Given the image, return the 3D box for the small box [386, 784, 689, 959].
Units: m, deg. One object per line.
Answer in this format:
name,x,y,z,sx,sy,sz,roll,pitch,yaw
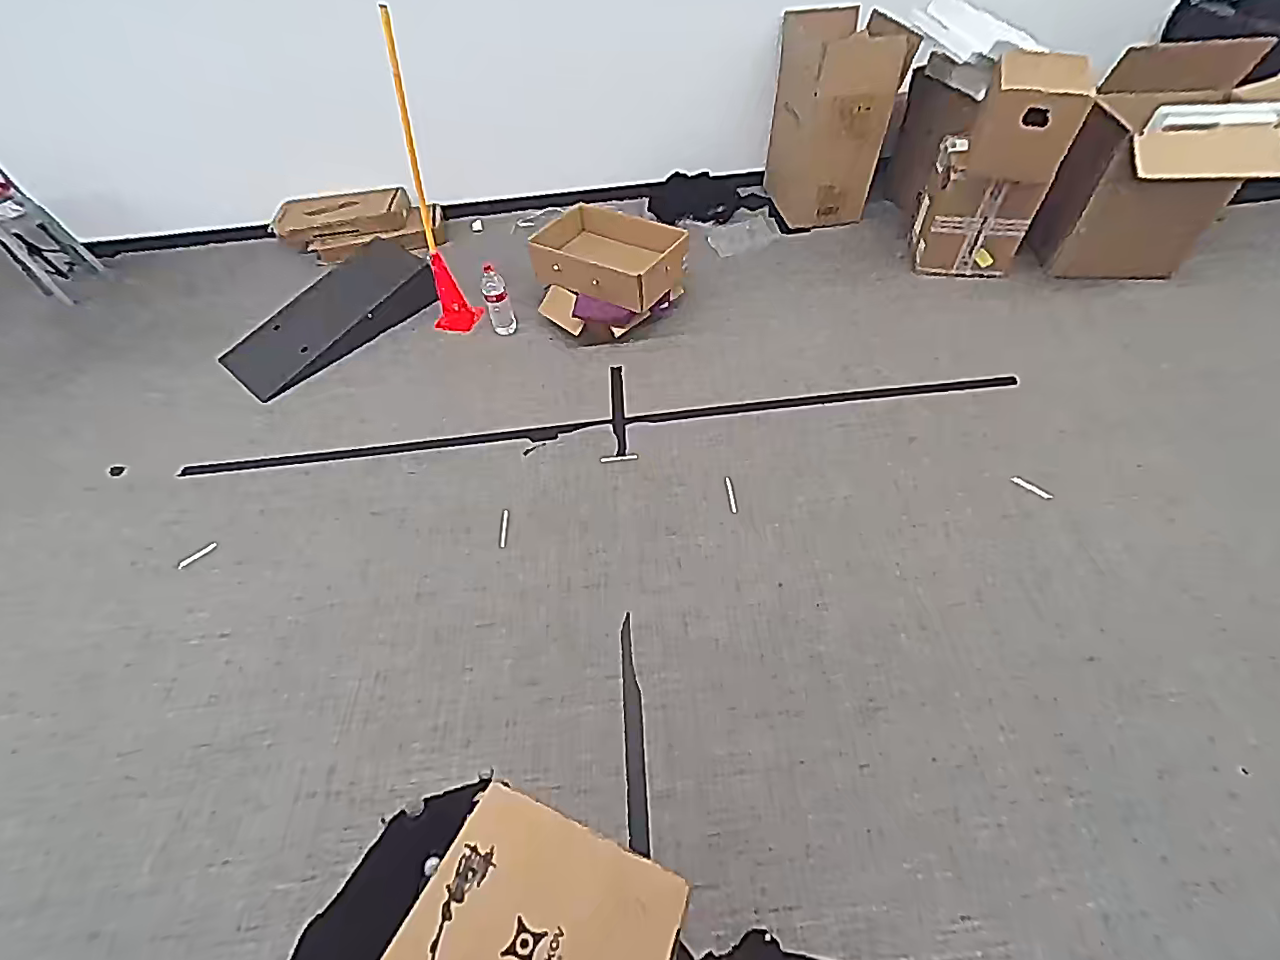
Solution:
small box,-0.085,0.381,0.408,0.179,0.176,0.168,21,35,11
